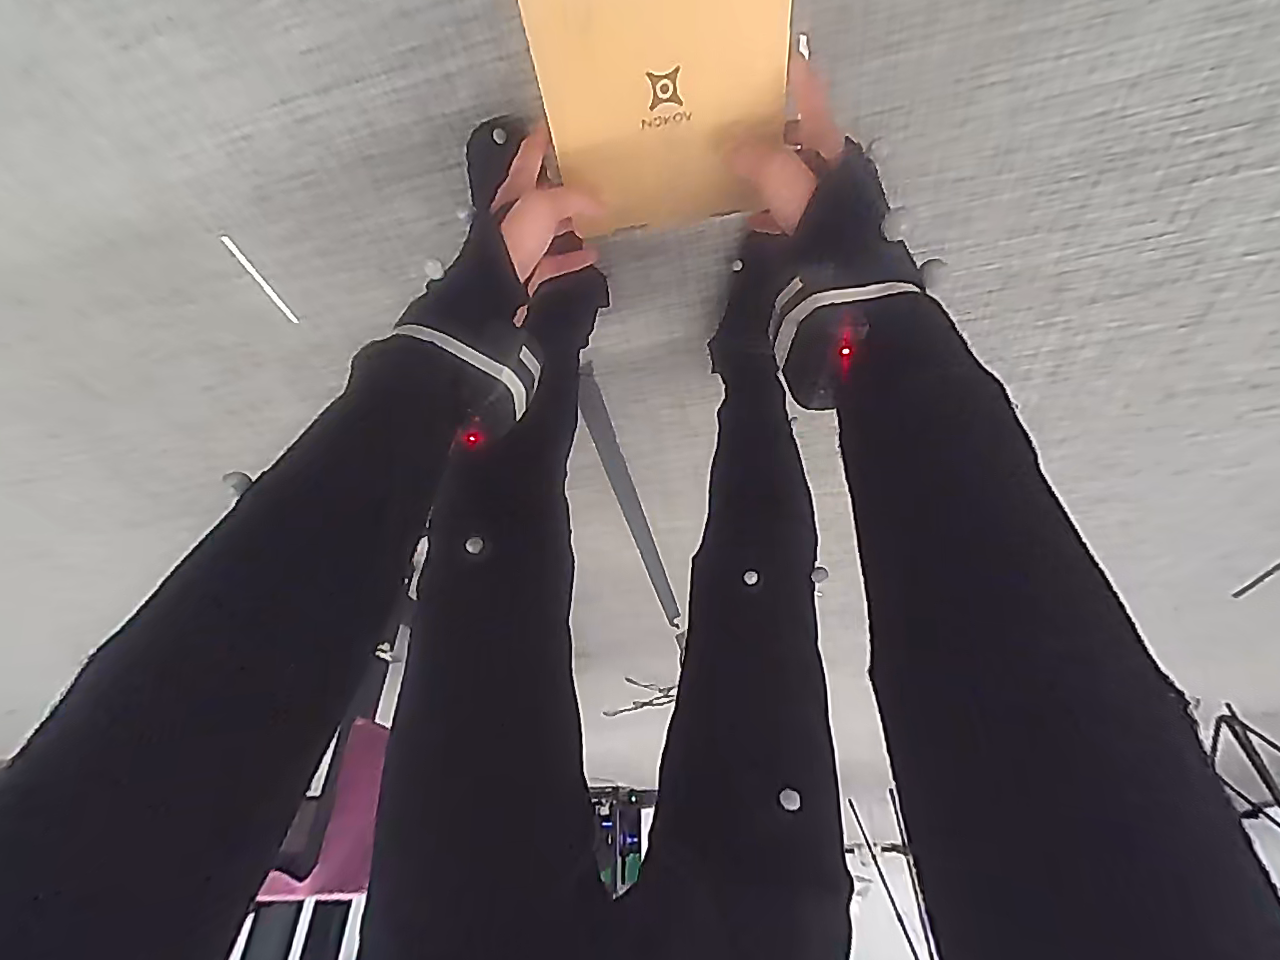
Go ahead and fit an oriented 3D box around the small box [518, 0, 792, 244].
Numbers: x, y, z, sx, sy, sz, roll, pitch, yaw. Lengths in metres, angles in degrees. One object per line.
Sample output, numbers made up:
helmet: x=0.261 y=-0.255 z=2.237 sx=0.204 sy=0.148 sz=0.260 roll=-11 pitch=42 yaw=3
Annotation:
small box: x=0.014 y=-0.316 z=0.414 sx=0.168 sy=0.176 sz=0.179 roll=-7 pitch=143 yaw=6
